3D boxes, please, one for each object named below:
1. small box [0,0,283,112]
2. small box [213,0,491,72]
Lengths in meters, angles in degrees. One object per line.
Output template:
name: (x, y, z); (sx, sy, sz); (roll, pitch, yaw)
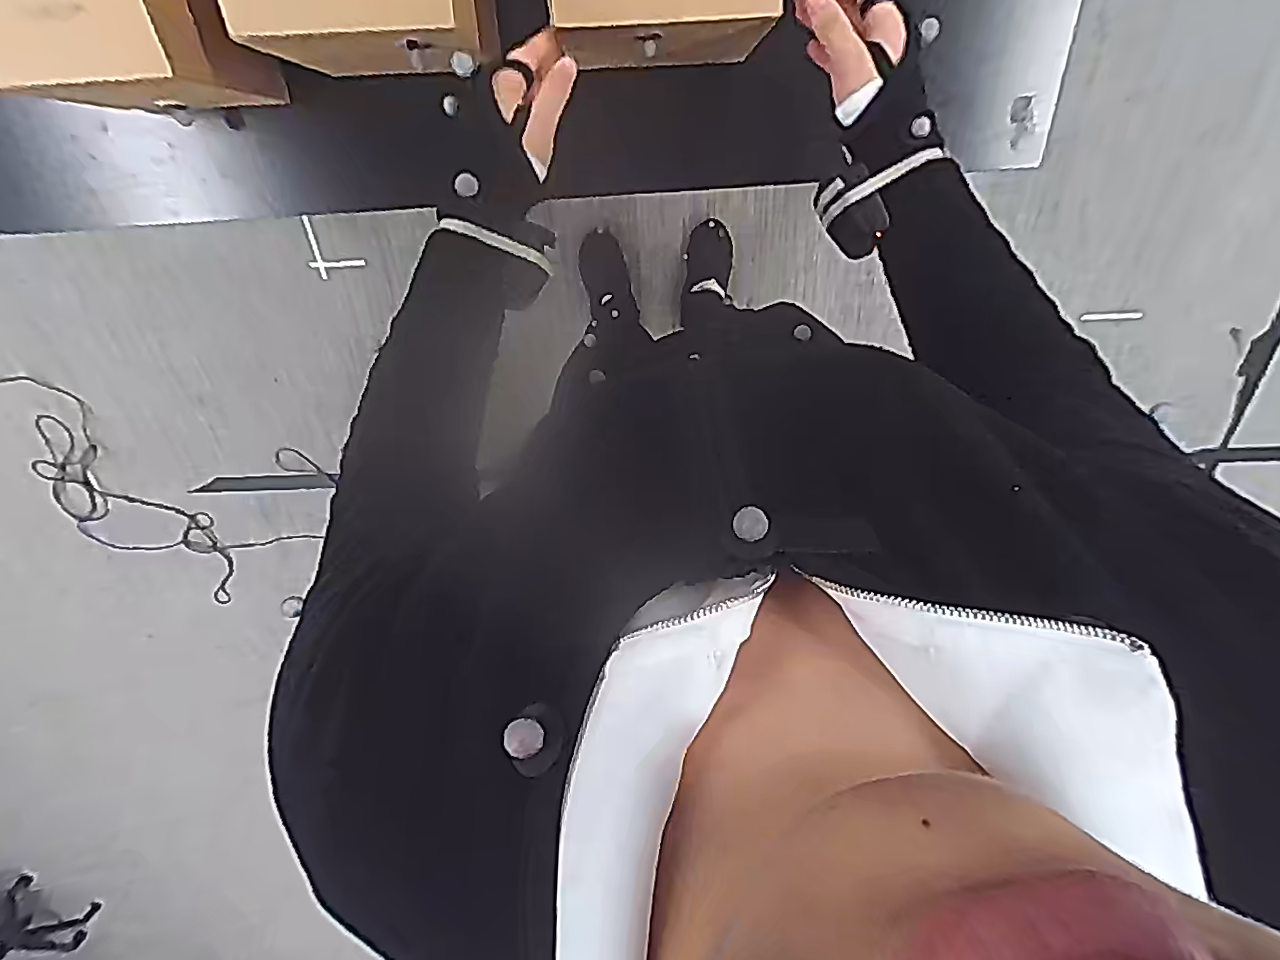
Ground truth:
small box: (-0.445, -0.422, 0.445); (0.168, 0.176, 0.179); (-3, 120, 2)
small box: (-0.227, -0.444, 0.432); (0.179, 0.176, 0.168); (-2, 118, 1)
